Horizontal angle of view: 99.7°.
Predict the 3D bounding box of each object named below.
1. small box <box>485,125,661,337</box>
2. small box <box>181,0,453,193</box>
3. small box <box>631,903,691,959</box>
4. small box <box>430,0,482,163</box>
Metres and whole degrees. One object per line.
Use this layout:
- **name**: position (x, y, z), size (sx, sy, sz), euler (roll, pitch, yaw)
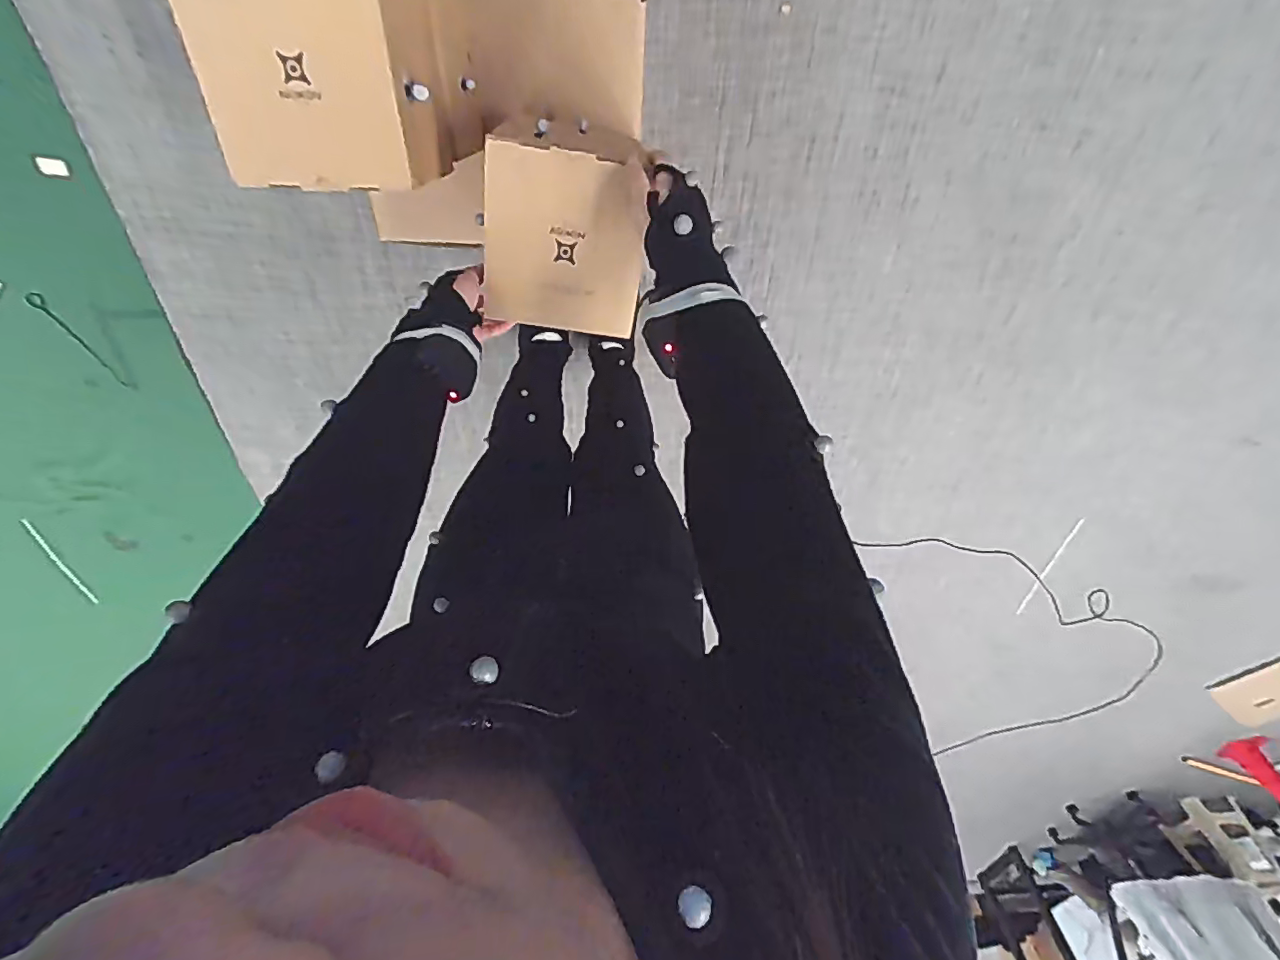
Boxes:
- **small box**: position (-0.080, -0.289, 0.621), size (0.168, 0.176, 0.179), euler (7, 127, -9)
- **small box**: position (-0.293, -0.396, 0.529), size (0.168, 0.176, 0.179), euler (1, 127, -4)
- **small box**: position (0.061, 1.400, 1.629), size (0.168, 0.176, 0.179), euler (-1, 129, -4)
- **small box**: position (-0.299, -0.493, 0.660), size (0.179, 0.176, 0.168), euler (-1, 126, -3)
